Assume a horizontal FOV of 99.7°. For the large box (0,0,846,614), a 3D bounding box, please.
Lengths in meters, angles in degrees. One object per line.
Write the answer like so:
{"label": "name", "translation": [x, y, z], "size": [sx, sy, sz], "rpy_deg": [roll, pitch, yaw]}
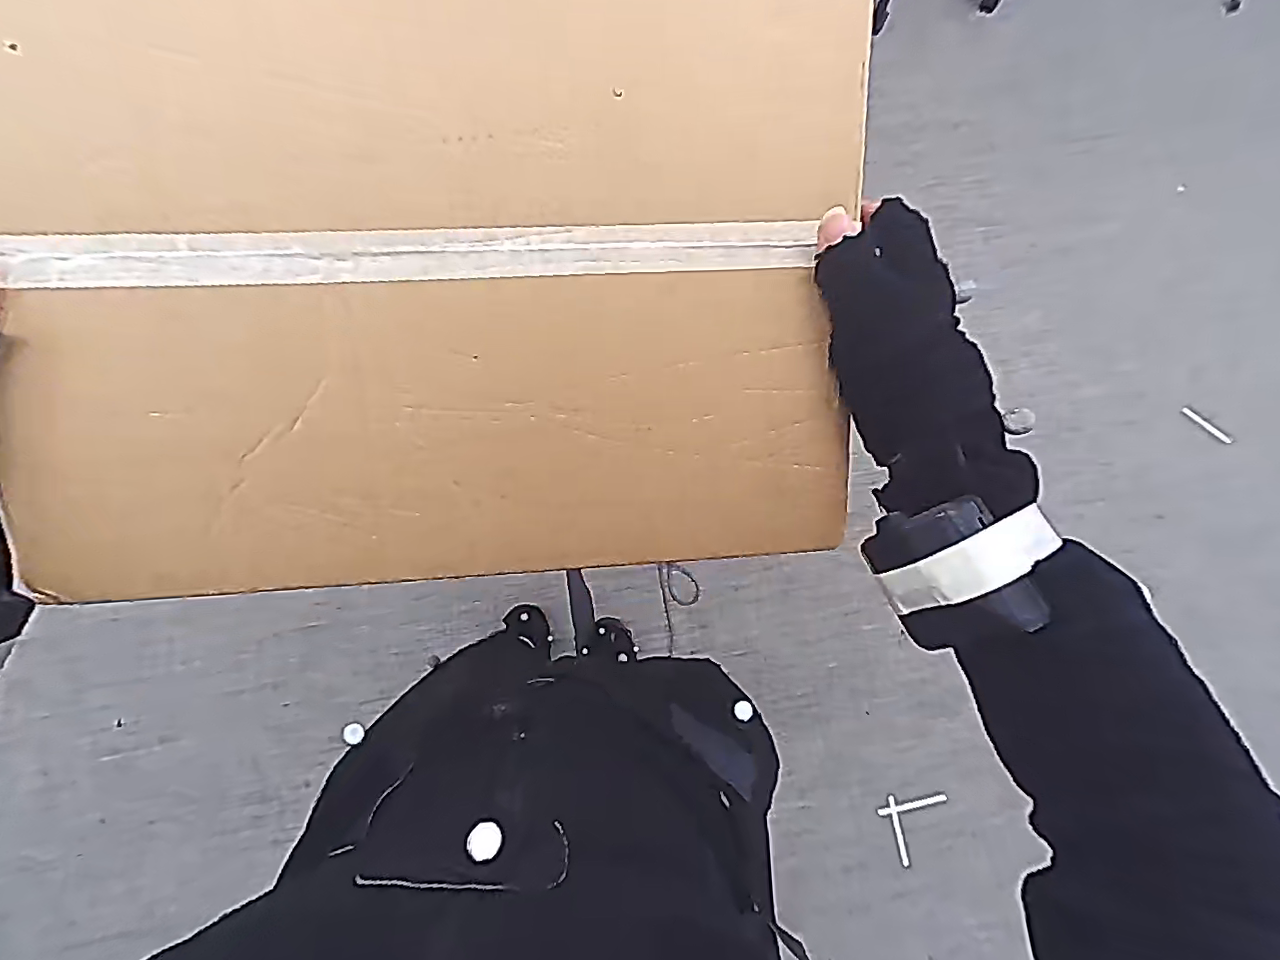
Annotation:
{"label": "large box", "translation": [-0.111, -0.128, 0.403], "size": [0.408, 0.320, 0.320], "rpy_deg": [-3, 103, -6]}
